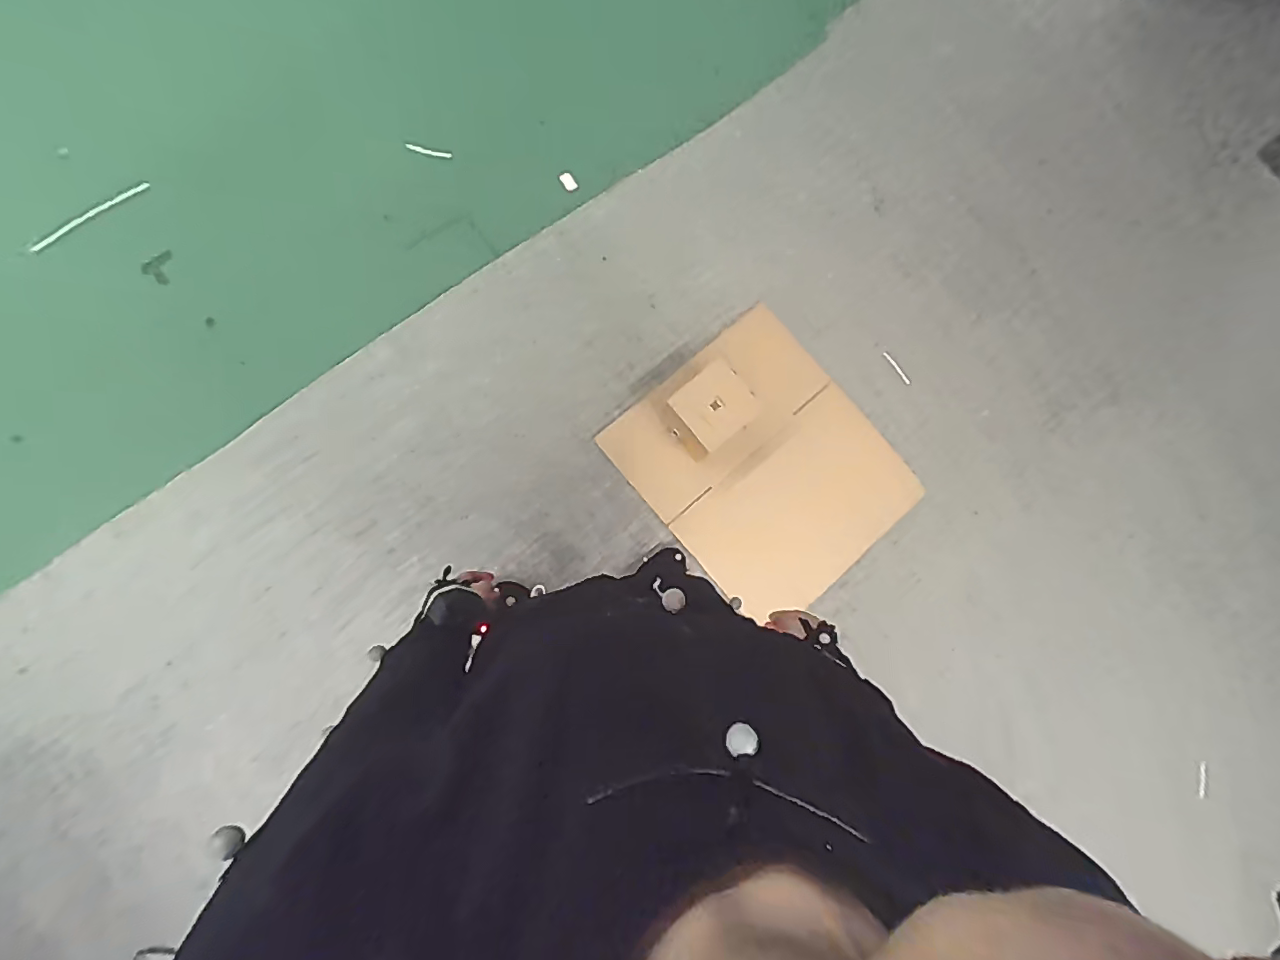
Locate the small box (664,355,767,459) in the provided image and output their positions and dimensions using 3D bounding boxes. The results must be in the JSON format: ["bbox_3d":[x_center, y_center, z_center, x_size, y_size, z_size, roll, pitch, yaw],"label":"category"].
[{"bbox_3d":[0.176,-0.172,1.333,0.179,0.176,0.168,-40,89,-7],"label":"small box"}]
